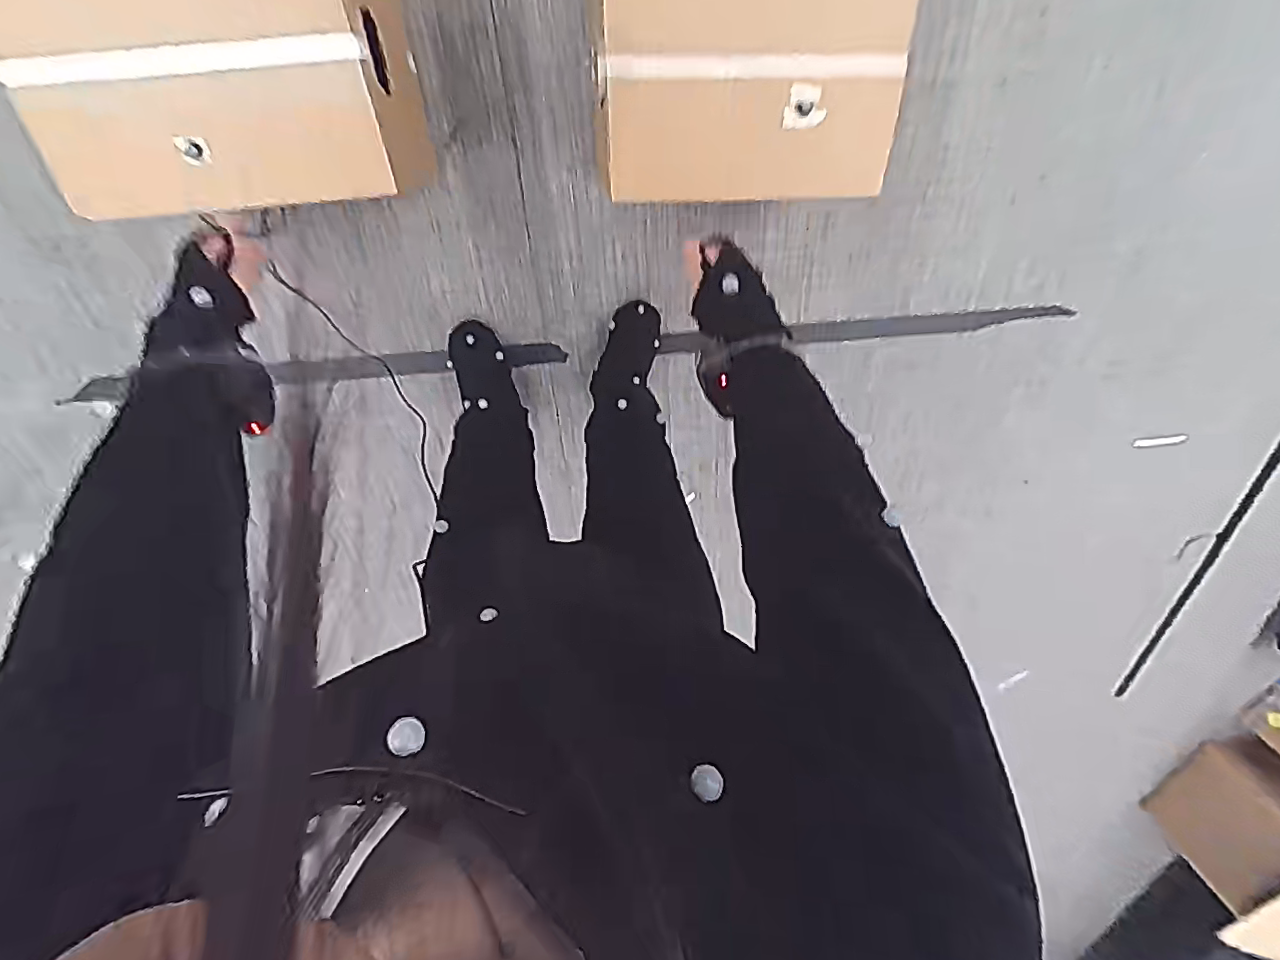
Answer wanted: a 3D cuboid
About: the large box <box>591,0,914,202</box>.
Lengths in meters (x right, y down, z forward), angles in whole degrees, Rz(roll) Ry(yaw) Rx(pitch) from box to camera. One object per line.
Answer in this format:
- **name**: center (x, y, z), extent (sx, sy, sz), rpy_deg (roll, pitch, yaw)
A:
- **large box**: center (0.139, -0.625, 0.844), extent (0.408, 0.320, 0.320), rpy_deg (-4, 122, -6)
